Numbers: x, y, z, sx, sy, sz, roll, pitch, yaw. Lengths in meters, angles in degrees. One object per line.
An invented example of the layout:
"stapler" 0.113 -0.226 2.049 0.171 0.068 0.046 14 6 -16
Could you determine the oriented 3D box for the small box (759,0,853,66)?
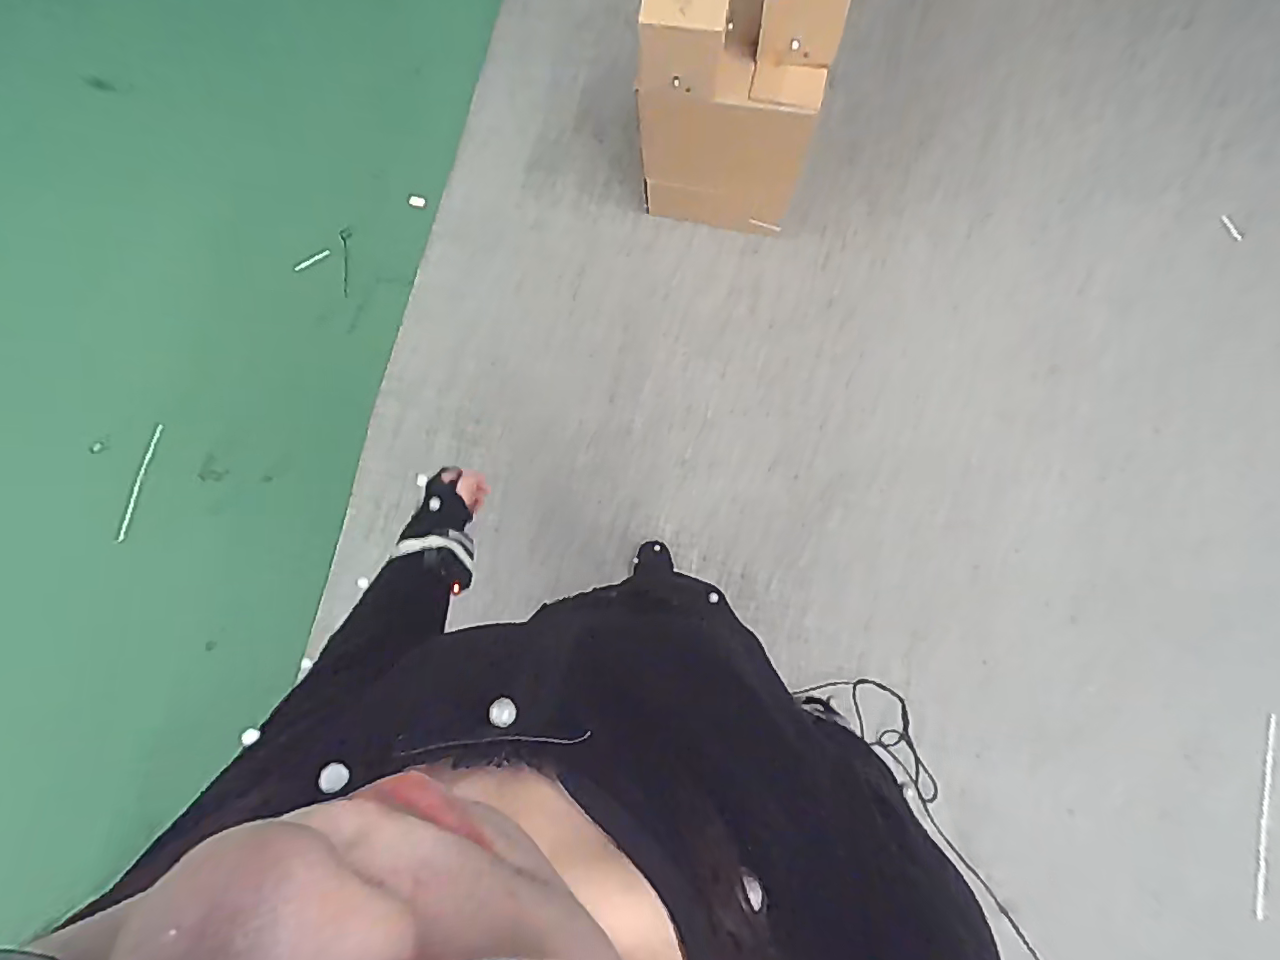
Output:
"small box" 0.344 -1.002 1.105 0.168 0.176 0.179 9 84 7
